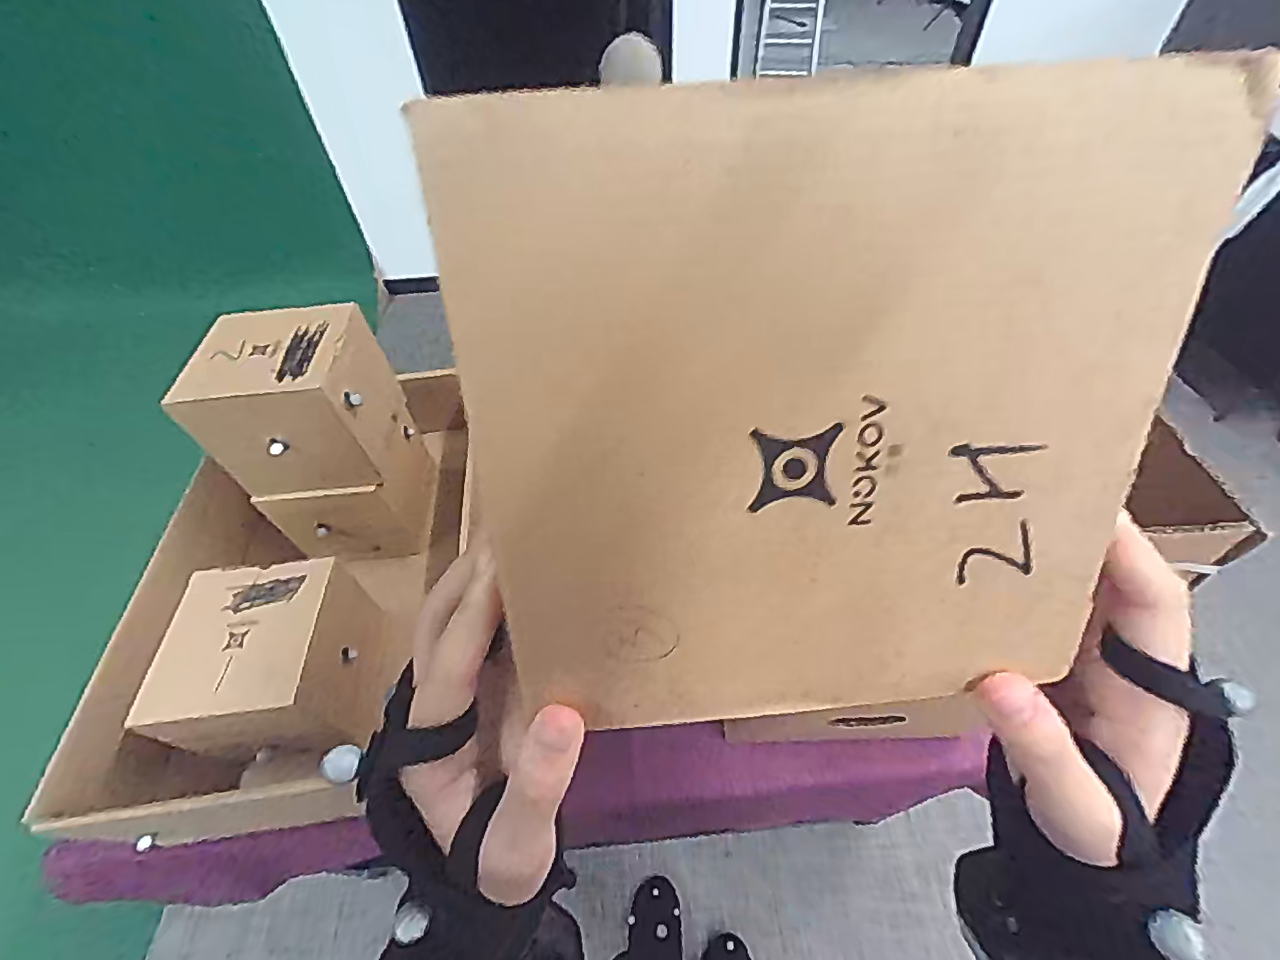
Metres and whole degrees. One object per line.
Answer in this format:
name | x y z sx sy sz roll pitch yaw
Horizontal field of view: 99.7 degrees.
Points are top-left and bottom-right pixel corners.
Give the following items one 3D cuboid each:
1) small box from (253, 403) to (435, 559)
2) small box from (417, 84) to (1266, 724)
small box | -0.430 0.009 0.823 0.168 0.176 0.179 -6 51 0
small box | 0.041 -0.035 0.213 0.179 0.168 0.176 -4 25 -2
